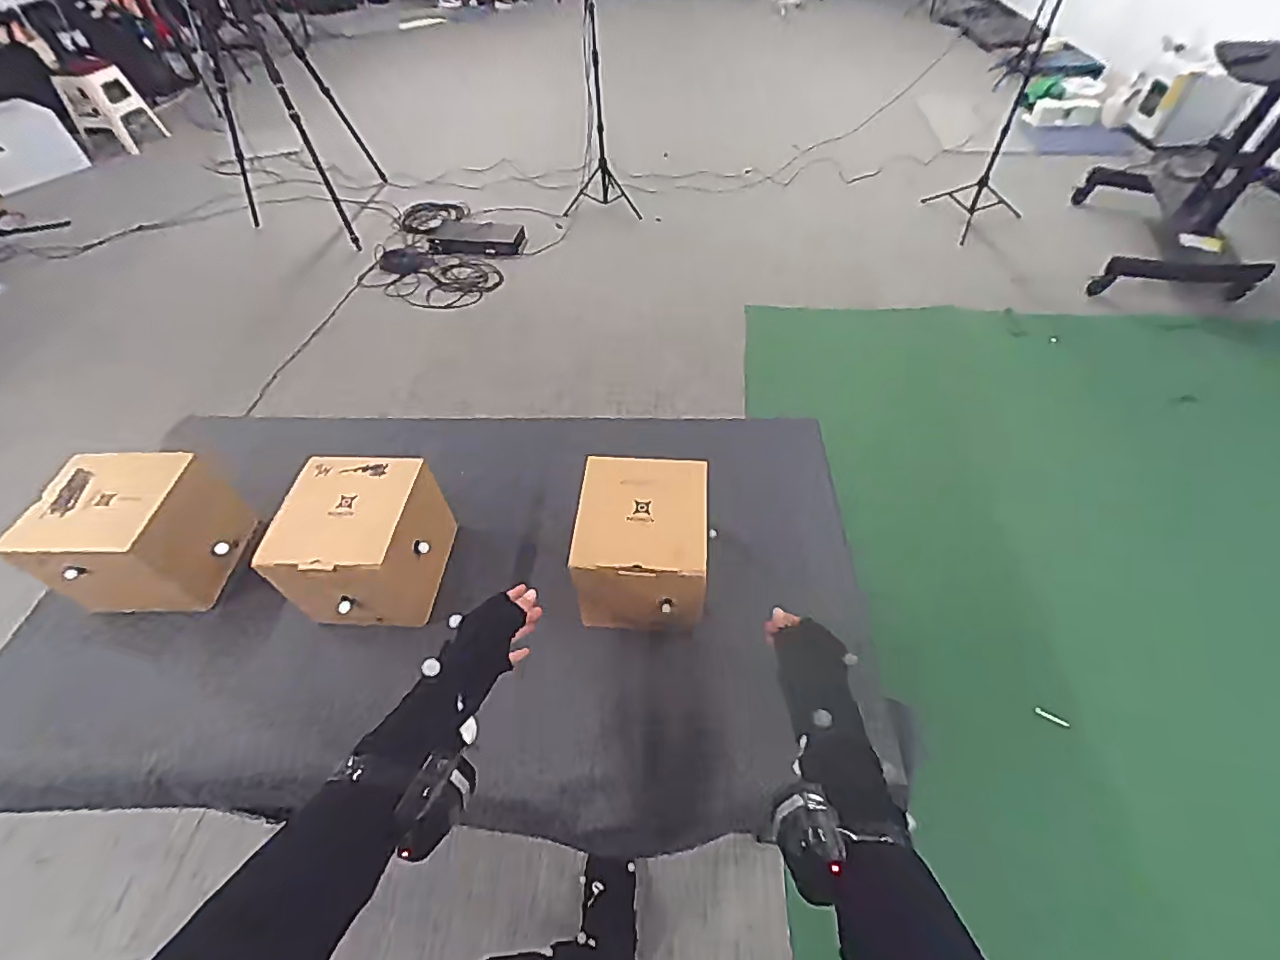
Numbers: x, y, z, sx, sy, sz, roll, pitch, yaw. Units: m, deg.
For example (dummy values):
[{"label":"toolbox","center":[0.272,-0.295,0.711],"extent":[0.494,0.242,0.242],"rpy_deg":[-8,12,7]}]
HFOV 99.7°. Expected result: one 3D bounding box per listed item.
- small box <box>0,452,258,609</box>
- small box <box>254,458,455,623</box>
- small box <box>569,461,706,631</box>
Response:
[{"label":"small box","center":[-0.710,0.076,0.778],"extent":[0.179,0.176,0.168],"rpy_deg":[0,51,0]},{"label":"small box","center":[-0.379,0.089,0.761],"extent":[0.168,0.176,0.179],"rpy_deg":[1,51,3]},{"label":"small box","center":[0.004,0.094,0.748],"extent":[0.168,0.176,0.179],"rpy_deg":[2,50,3]}]
